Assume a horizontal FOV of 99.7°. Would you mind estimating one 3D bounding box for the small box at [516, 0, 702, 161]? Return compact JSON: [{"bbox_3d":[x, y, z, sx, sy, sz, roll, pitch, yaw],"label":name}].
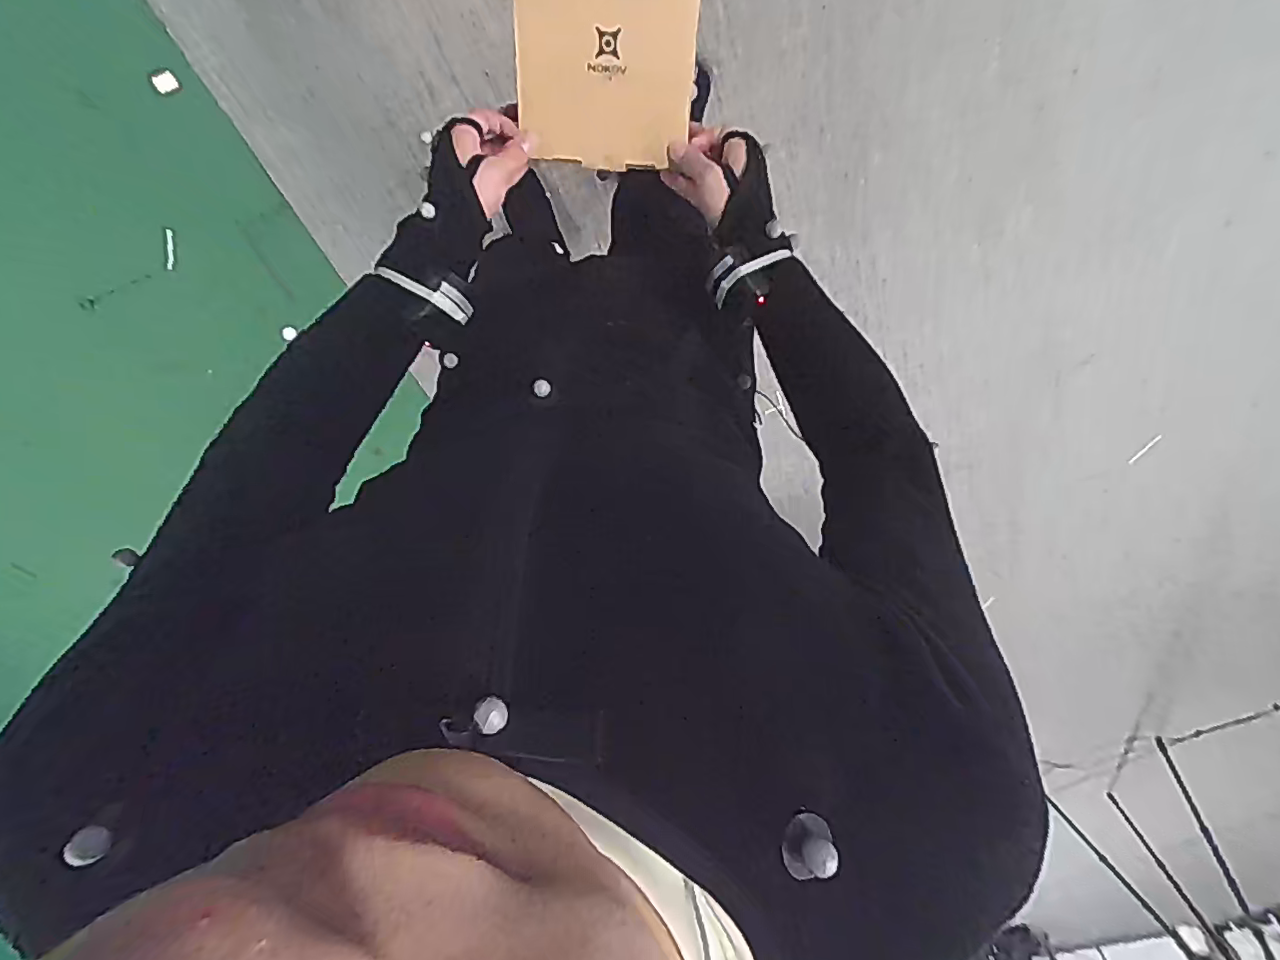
[{"bbox_3d":[-0.032,-0.441,0.555,0.168,0.176,0.179,2,123,-5],"label":"small box"}]
